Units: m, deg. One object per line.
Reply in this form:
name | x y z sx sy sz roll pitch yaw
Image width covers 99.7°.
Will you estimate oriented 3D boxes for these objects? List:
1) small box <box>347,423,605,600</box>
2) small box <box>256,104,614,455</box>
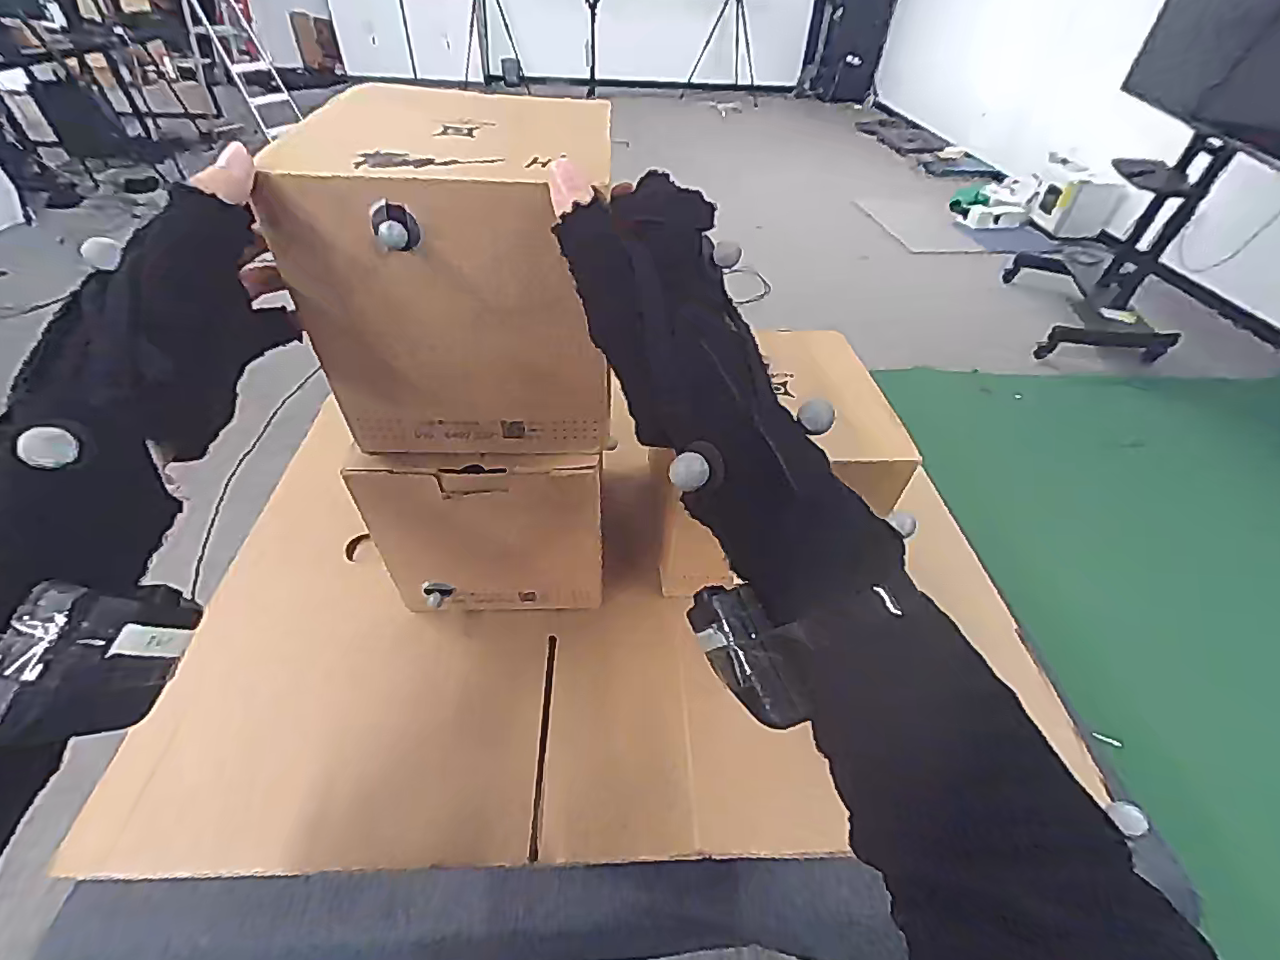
small box | -0.116 -0.010 0.471 0.168 0.176 0.179 0 45 -3
small box | -0.102 -0.135 0.367 0.168 0.176 0.179 0 45 -2
